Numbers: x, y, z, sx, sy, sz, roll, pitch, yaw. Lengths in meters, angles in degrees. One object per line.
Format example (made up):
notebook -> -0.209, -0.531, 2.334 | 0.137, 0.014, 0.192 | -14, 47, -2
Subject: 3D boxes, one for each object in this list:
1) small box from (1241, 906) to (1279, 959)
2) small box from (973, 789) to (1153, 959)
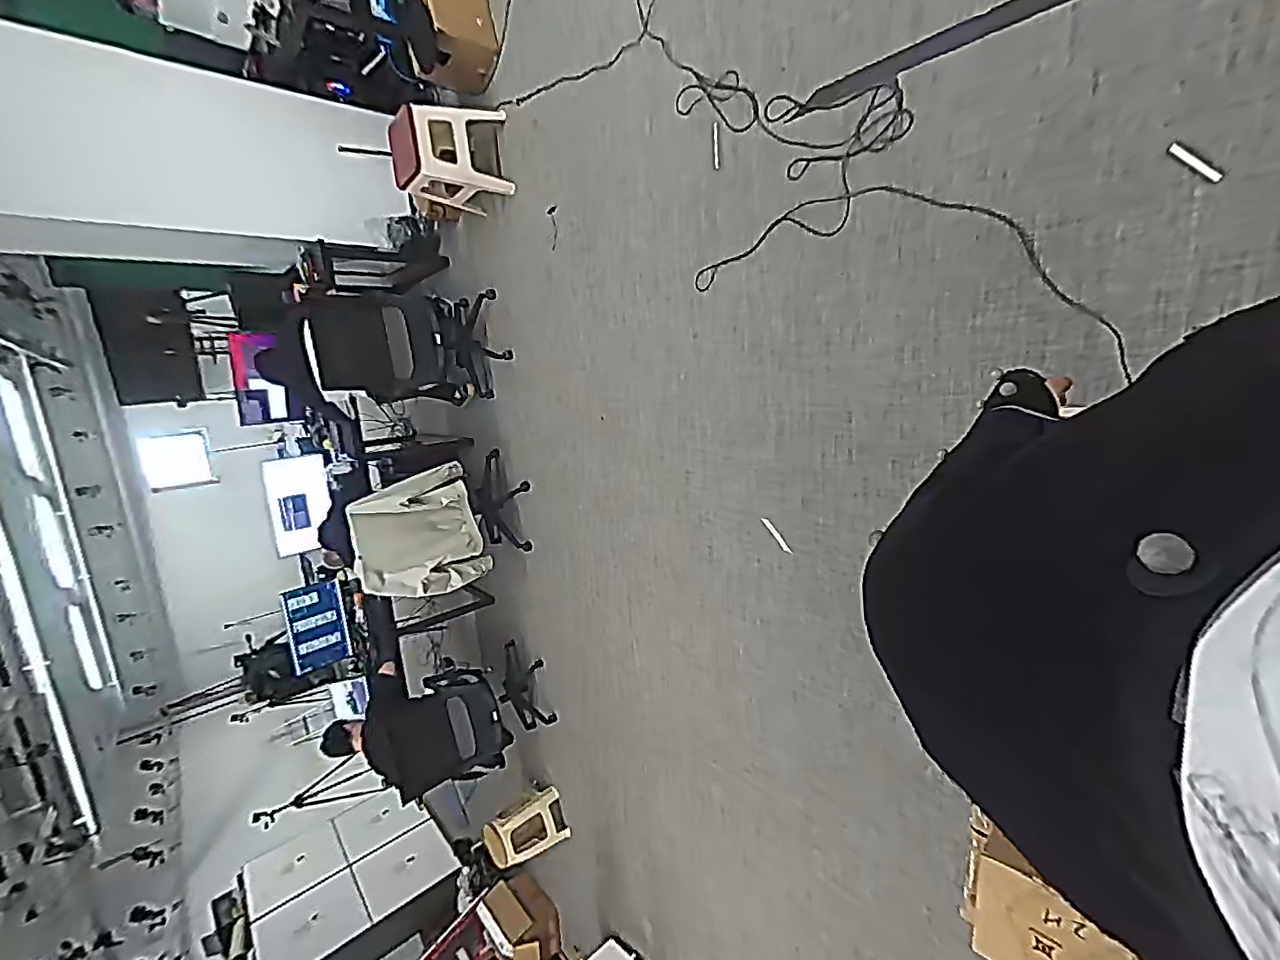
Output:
small box -> 0.763, 0.628, 0.578 | 0.168, 0.176, 0.179 | 10, 106, 48
small box -> 0.597, 0.591, 0.764 | 0.168, 0.176, 0.179 | 10, 107, 47
